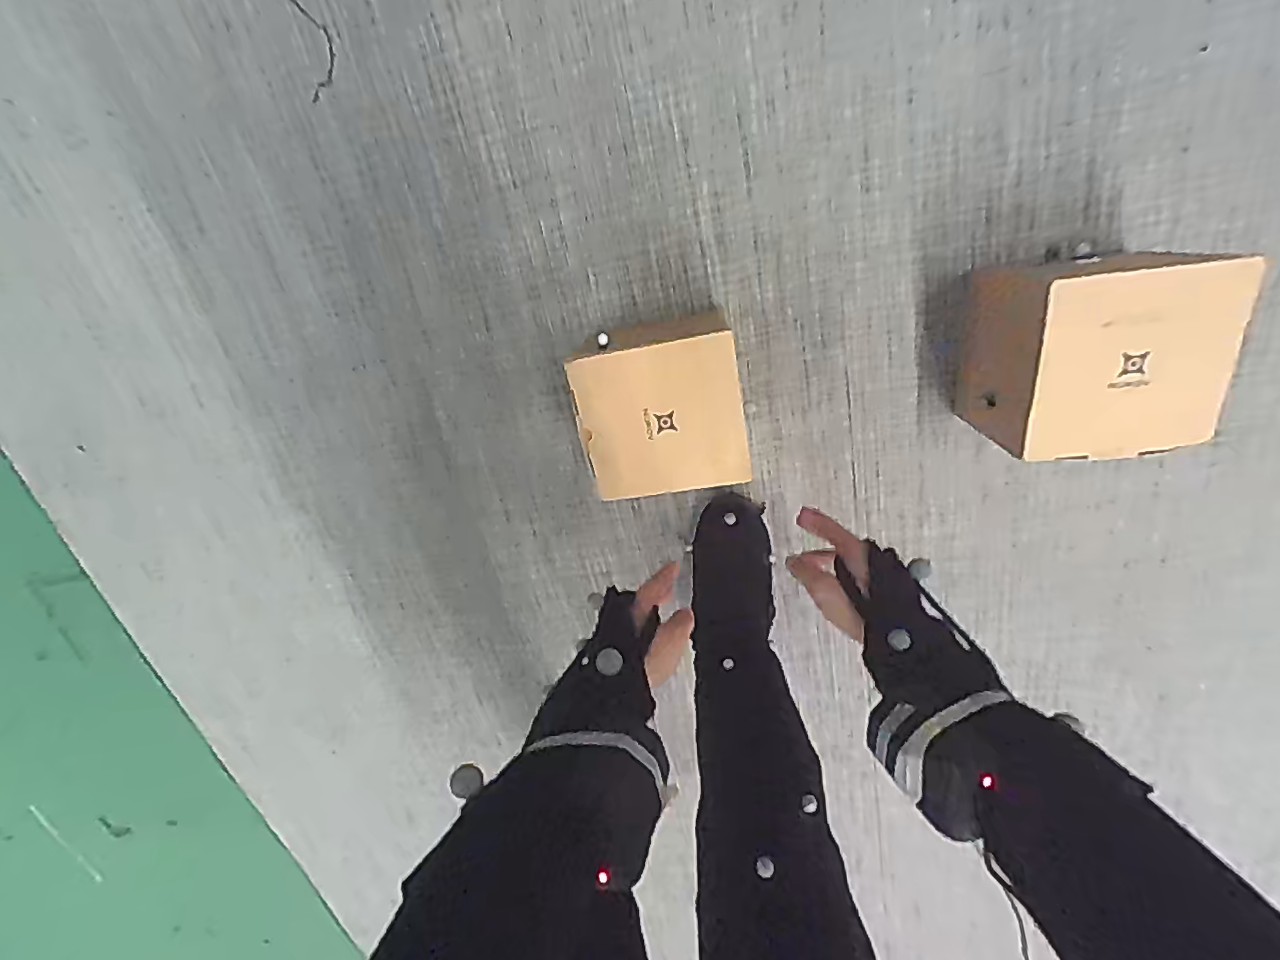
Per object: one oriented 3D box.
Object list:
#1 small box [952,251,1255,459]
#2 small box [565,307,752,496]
[{"bbox_3d":[0.453,-0.137,0.569,0.168,0.176,0.179,-5,113,8],"label":"small box"},{"bbox_3d":[0.030,-0.099,0.639,0.179,0.176,0.168,-8,113,11],"label":"small box"}]
